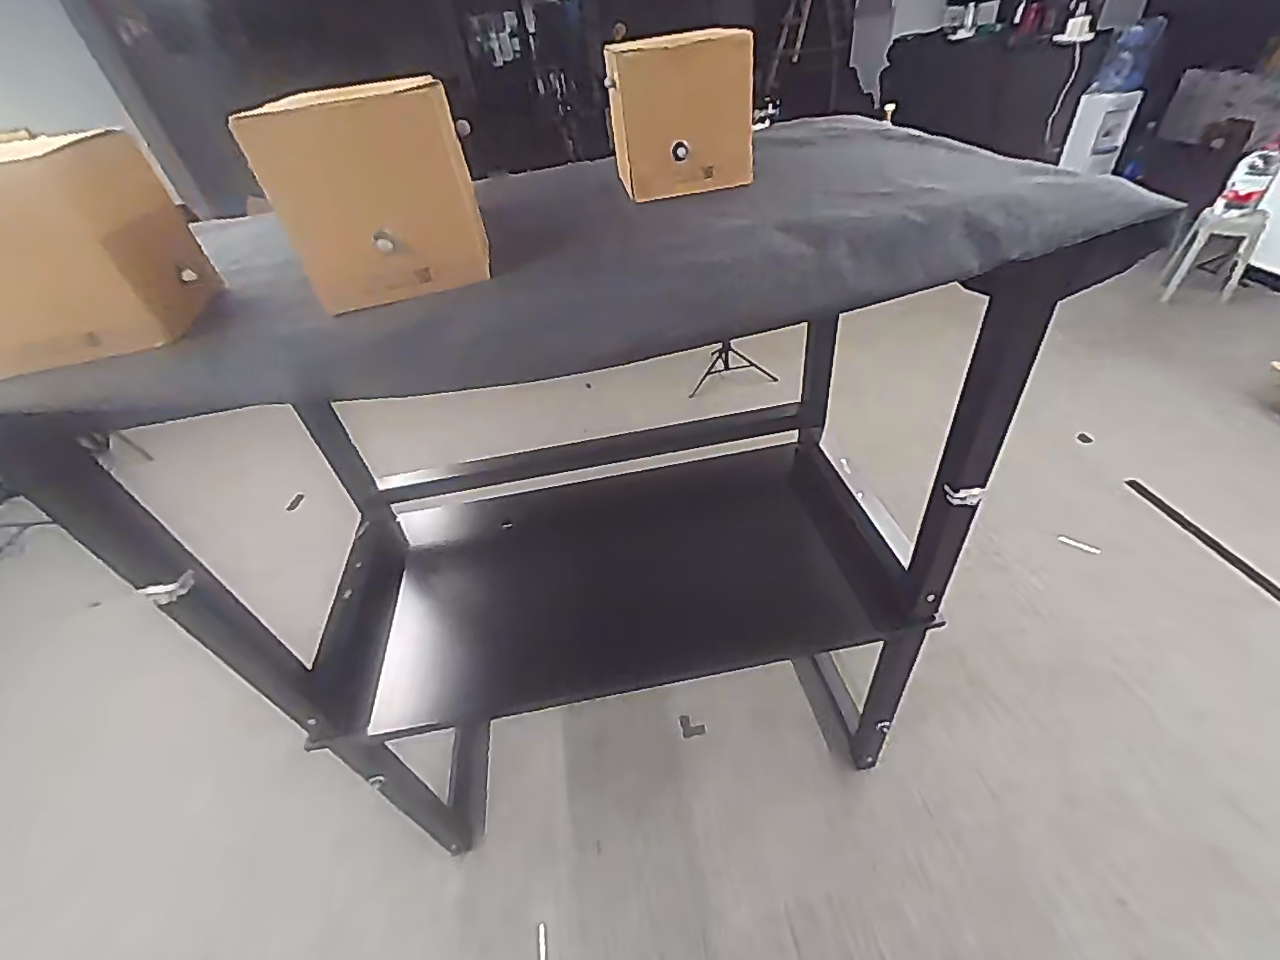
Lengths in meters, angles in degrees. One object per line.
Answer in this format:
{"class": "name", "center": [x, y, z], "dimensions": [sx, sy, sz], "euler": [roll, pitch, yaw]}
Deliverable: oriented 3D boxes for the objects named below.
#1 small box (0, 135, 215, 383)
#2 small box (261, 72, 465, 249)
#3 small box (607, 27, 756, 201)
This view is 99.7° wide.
{"class": "small box", "center": [-0.565, -0.218, 0.527], "dimensions": [0.168, 0.176, 0.179], "euler": [-15, 41, -8]}
{"class": "small box", "center": [-0.346, -0.420, 0.722], "dimensions": [0.168, 0.176, 0.179], "euler": [-8, 42, -1]}
{"class": "small box", "center": [0.052, -0.500, 0.741], "dimensions": [0.168, 0.176, 0.179], "euler": [-11, 42, -2]}
